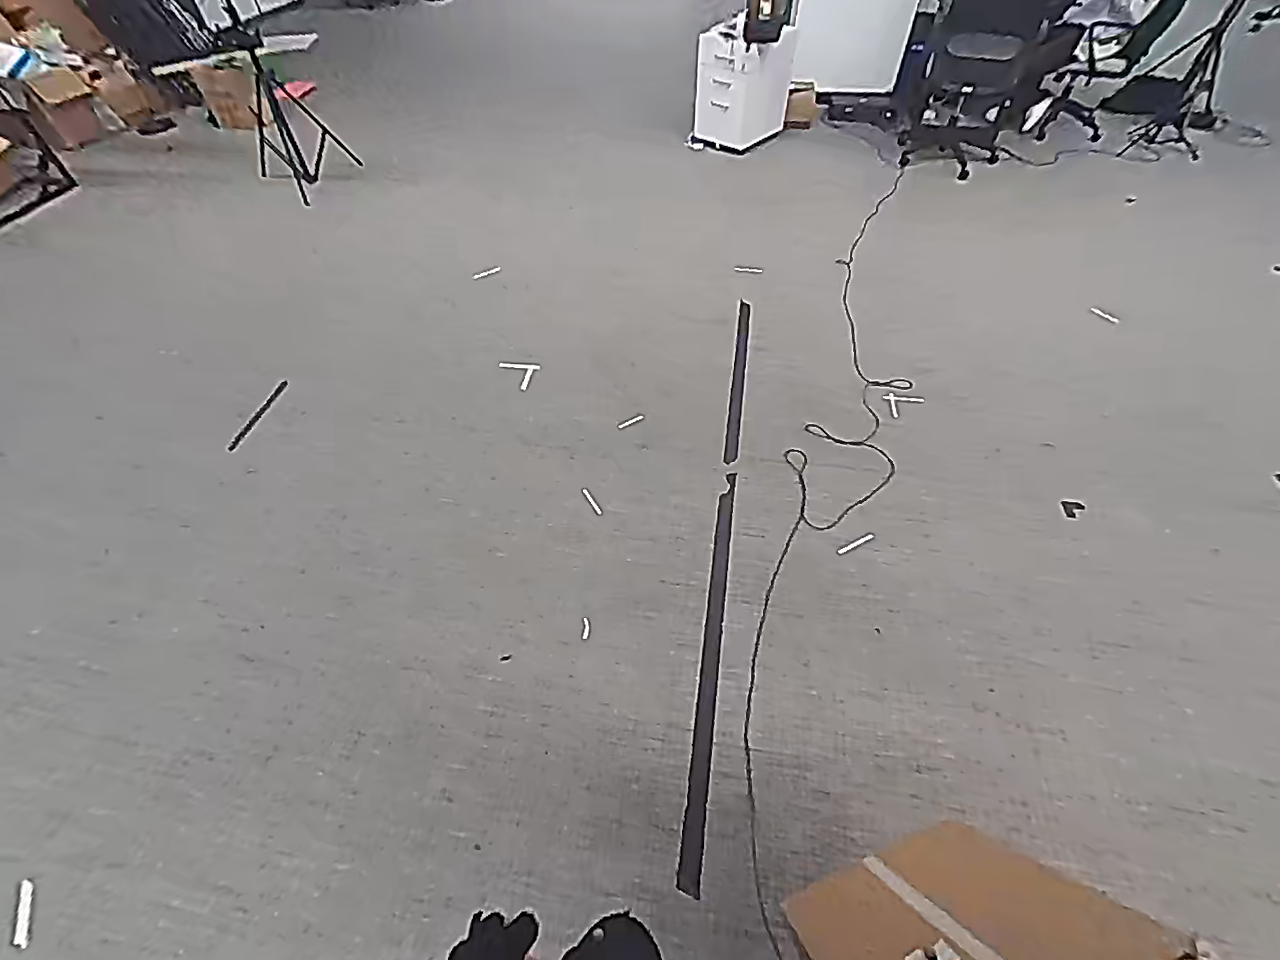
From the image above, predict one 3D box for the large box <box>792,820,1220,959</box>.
[{"bbox_3d":[0.428,0.668,0.613,0.320,0.408,0.320,-22,75,-7],"label":"large box"}]
